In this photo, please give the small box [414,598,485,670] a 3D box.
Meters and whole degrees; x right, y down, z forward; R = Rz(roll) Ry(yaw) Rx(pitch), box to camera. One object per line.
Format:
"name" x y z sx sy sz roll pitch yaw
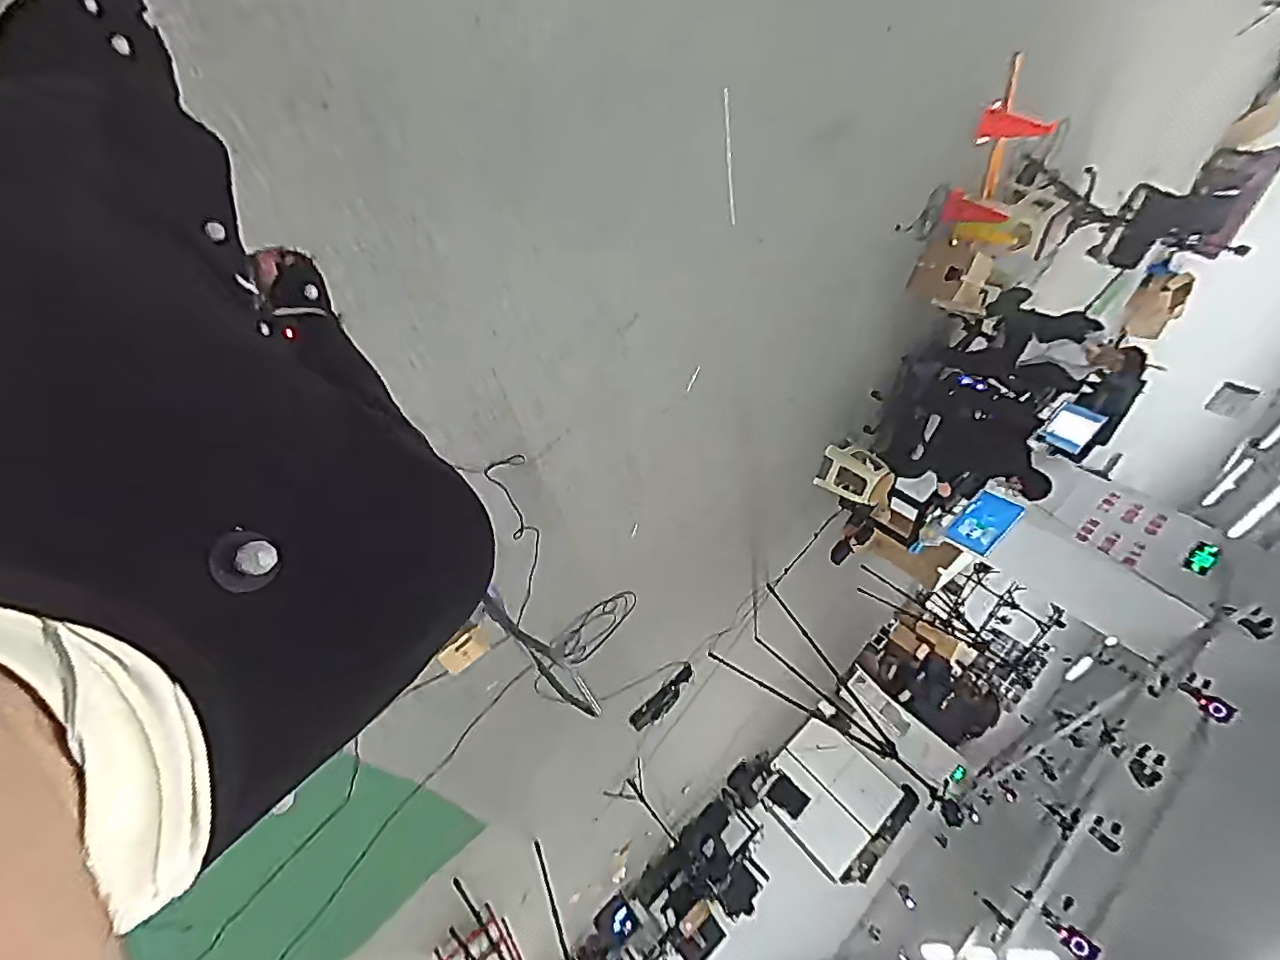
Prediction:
"small box" -0.720 0.572 2.037 0.168 0.176 0.179 -35 143 -21
